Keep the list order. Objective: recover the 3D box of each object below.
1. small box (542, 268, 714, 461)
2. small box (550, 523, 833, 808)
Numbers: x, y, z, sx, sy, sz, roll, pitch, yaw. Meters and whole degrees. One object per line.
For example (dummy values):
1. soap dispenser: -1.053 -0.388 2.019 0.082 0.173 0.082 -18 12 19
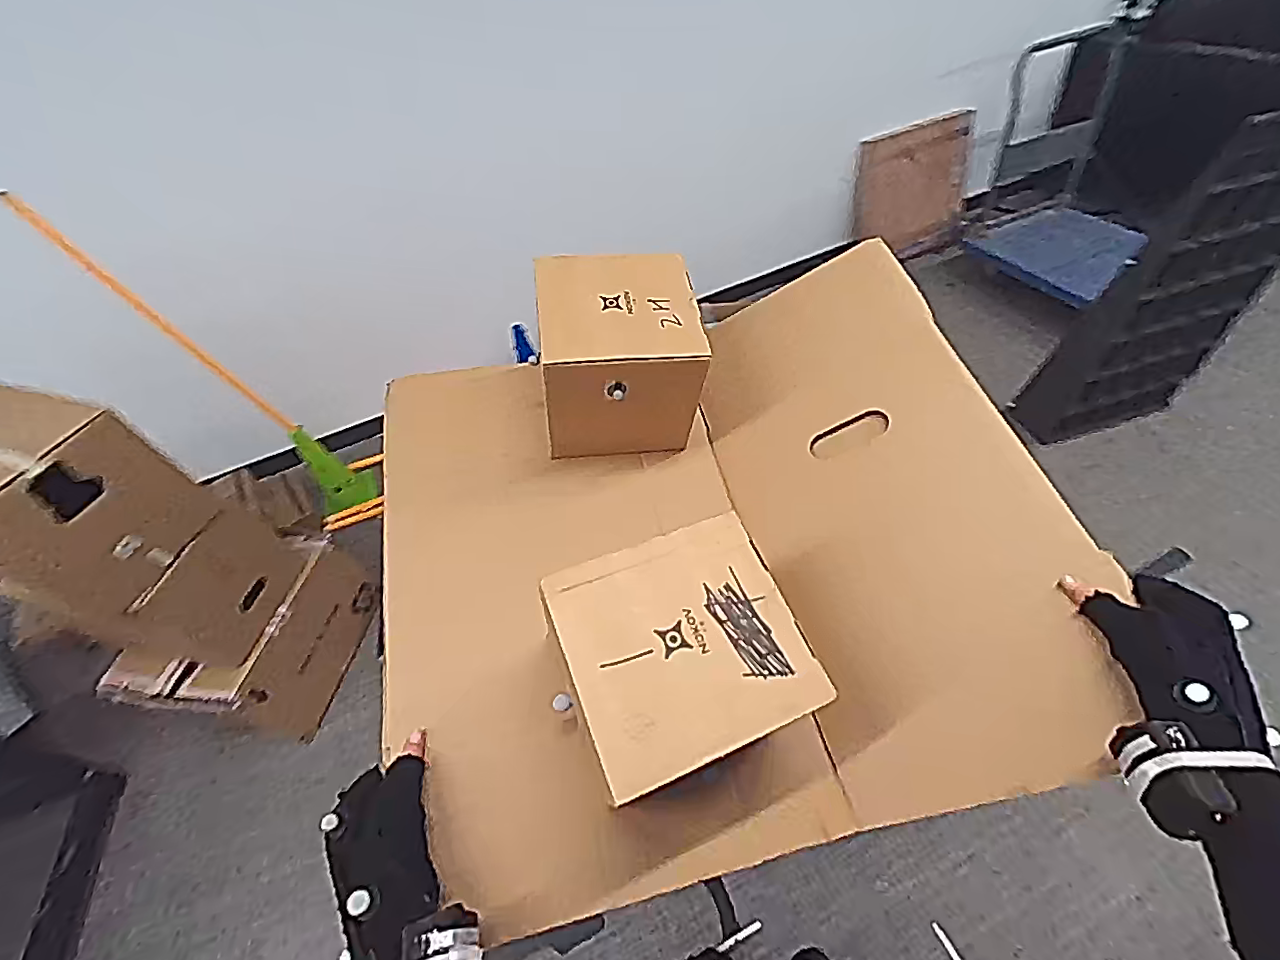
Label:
1. small box: -0.023 -0.135 0.659 0.179 0.176 0.168 -3 59 -8
2. small box: 0.028 0.166 0.480 0.179 0.176 0.168 -17 62 -15
